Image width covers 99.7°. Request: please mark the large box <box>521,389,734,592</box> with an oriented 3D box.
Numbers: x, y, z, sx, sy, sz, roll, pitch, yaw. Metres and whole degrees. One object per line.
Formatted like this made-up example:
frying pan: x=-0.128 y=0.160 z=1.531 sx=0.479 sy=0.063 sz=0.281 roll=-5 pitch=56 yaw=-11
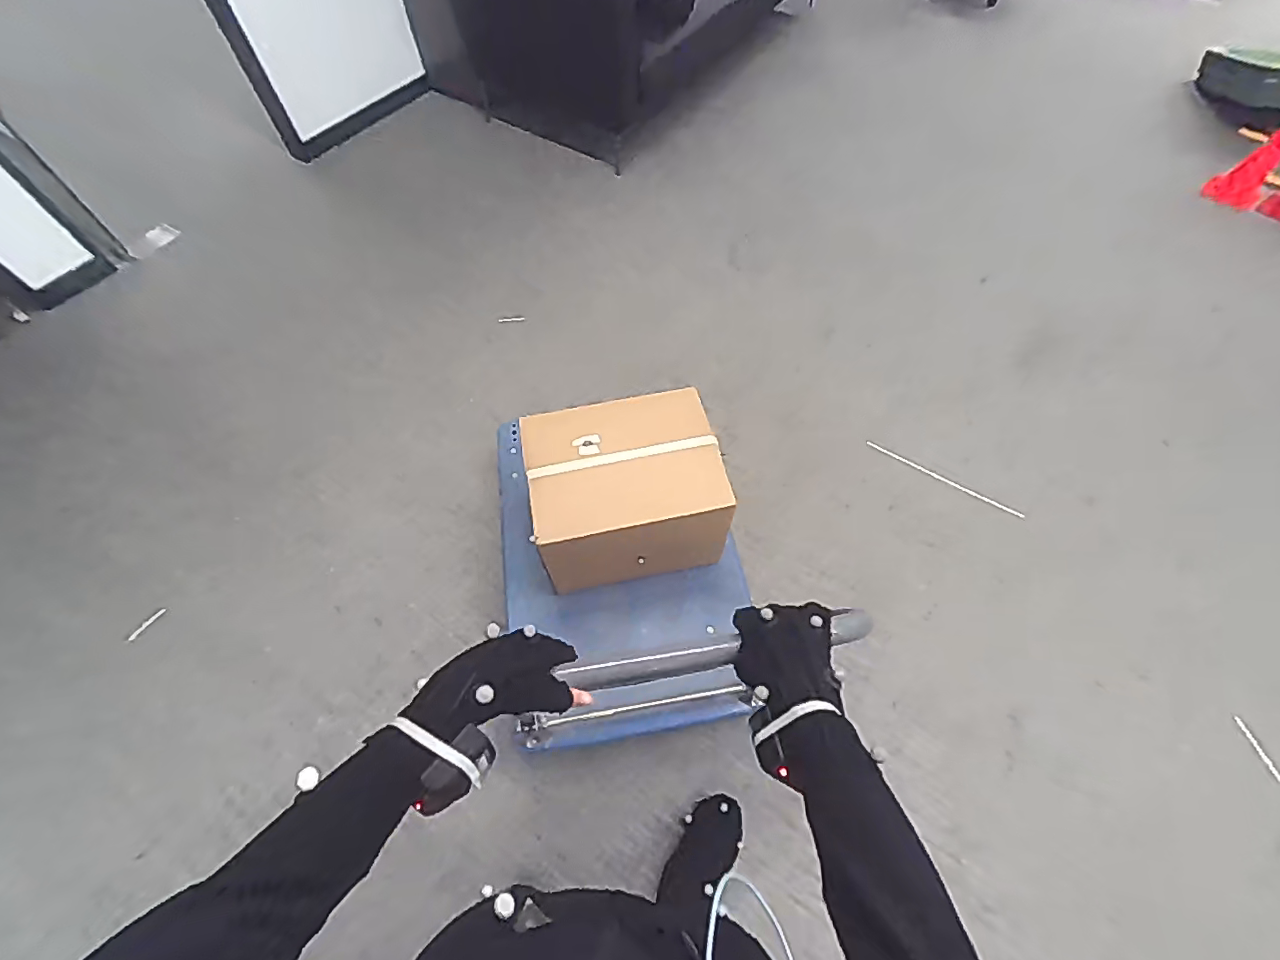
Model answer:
large box: x=-0.032 y=0.034 z=1.273 sx=0.408 sy=0.320 sz=0.320 roll=-12 pitch=60 yaw=-6
